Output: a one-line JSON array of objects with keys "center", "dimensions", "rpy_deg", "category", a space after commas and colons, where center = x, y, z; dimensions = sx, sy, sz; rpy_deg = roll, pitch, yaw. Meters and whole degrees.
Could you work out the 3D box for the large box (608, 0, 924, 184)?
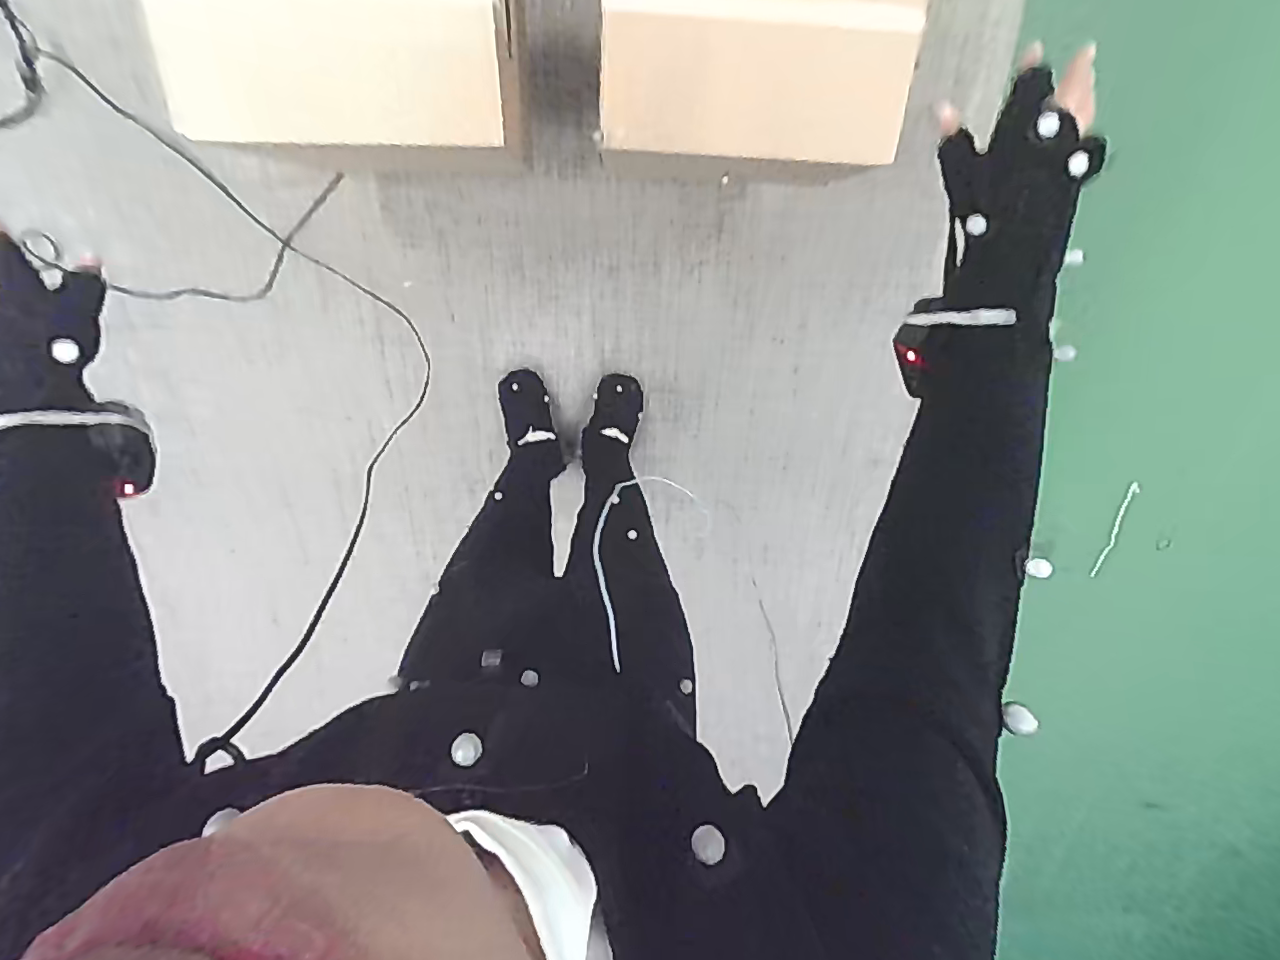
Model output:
[{"center": [0.157, -0.644, 0.827], "dimensions": [0.408, 0.320, 0.320], "rpy_deg": [2, 113, -4], "category": "large box"}]
